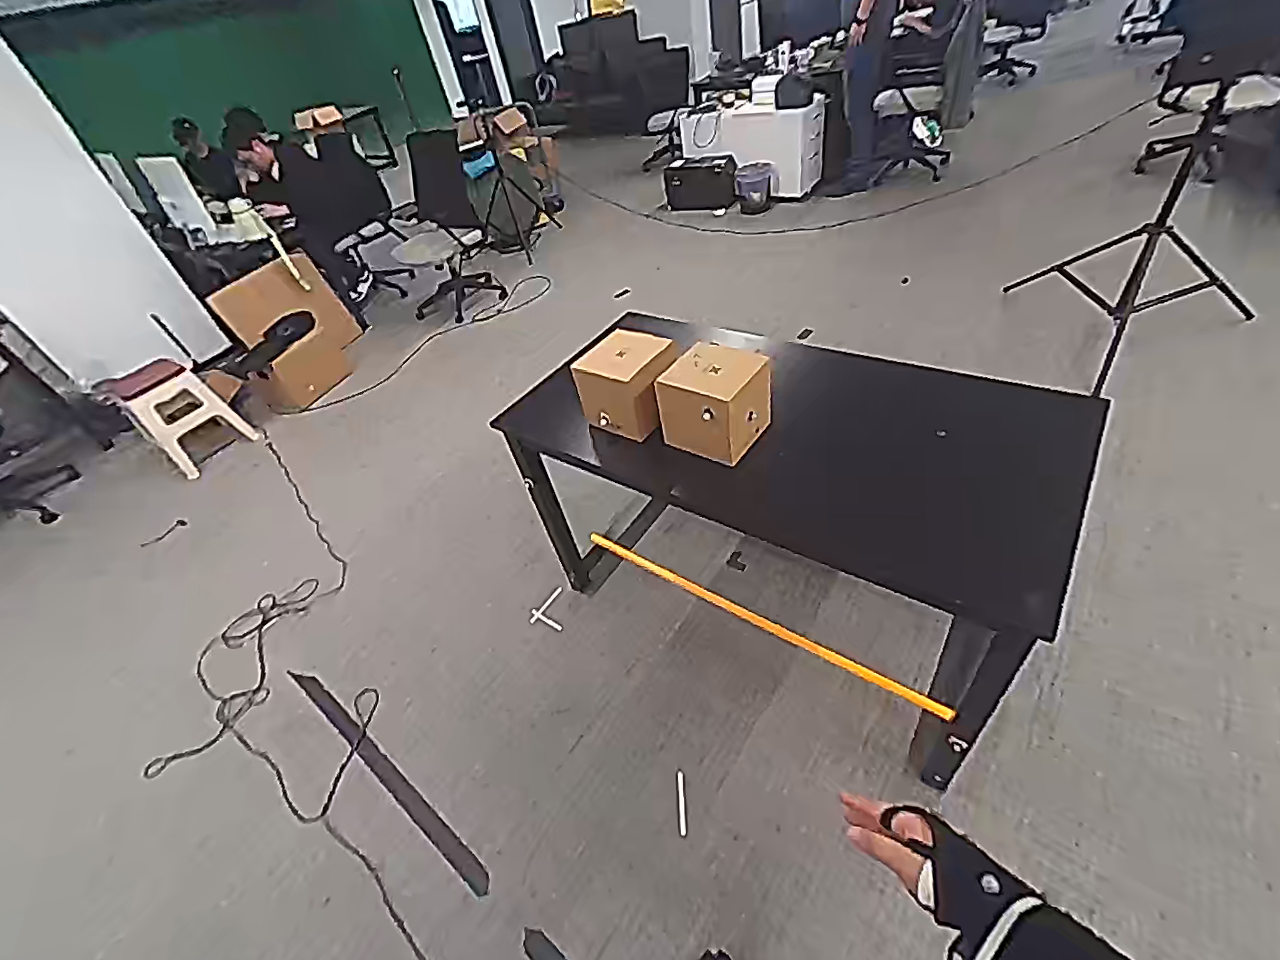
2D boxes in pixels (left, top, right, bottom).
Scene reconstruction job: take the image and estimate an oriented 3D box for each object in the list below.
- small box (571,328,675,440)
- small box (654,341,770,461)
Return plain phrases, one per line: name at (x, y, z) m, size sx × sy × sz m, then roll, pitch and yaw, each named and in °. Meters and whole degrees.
small box at (-0.026, -0.221, 1.239) m, size 0.168 × 0.176 × 0.179 m, roll 20°, pitch 53°, yaw 32°
small box at (0.156, -0.163, 1.130) m, size 0.179 × 0.176 × 0.168 m, roll 22°, pitch 53°, yaw 32°
